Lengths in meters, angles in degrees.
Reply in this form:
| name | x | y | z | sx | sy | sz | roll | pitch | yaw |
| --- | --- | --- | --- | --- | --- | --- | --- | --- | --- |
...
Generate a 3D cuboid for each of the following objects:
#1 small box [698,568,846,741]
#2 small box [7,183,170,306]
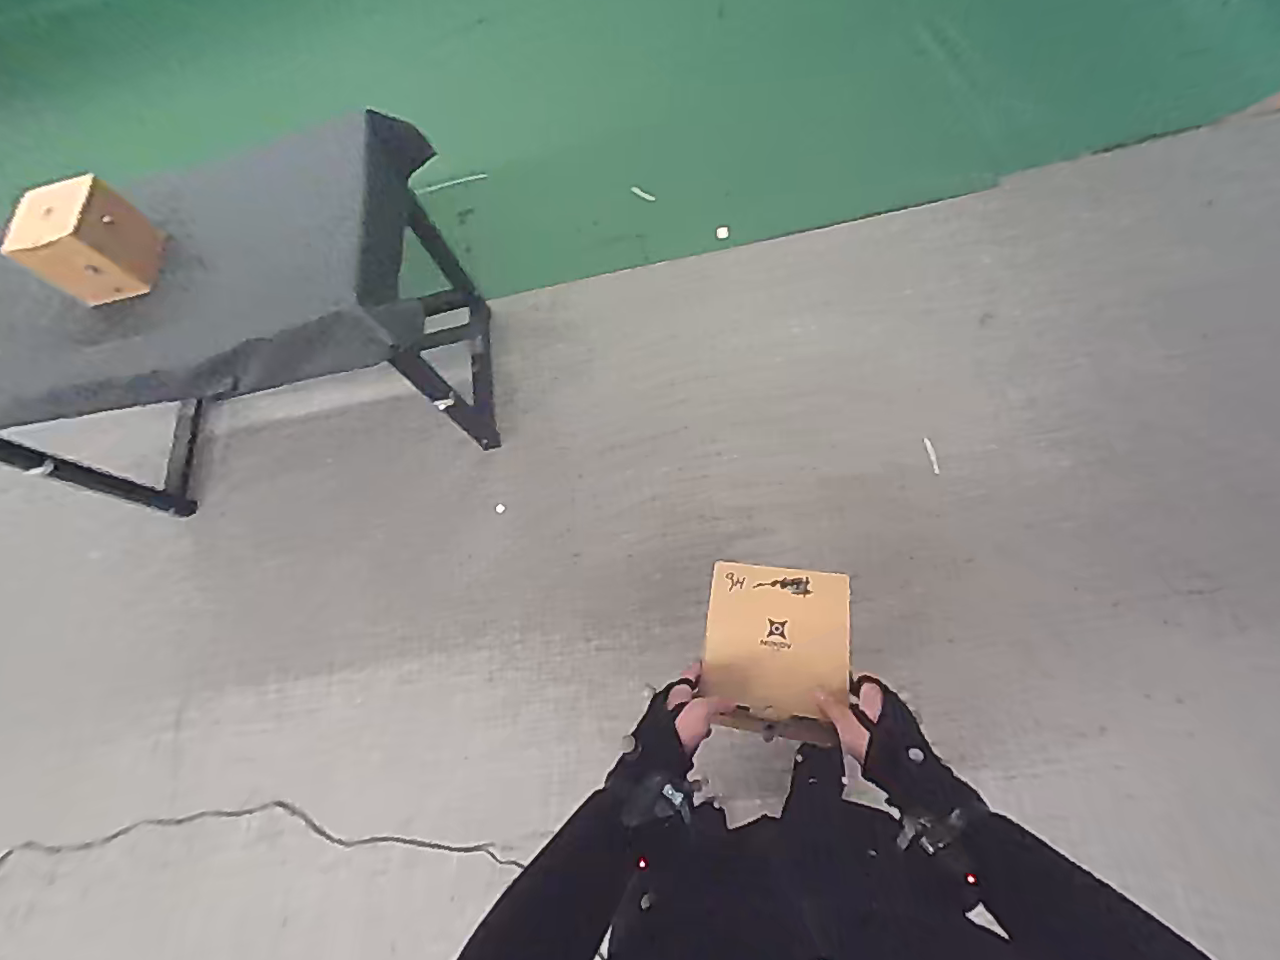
| name | x | y | z | sx | sy | sz | roll | pitch | yaw |
| --- | --- | --- | --- | --- | --- | --- | --- | --- | --- |
| small box | 0.175 | 0.233 | 0.711 | 0.168 | 0.176 | 0.179 | 3 | 60 | 14 |
| small box | -1.186 | -0.502 | 1.180 | 0.168 | 0.176 | 0.179 | -10 | 67 | 5 |
